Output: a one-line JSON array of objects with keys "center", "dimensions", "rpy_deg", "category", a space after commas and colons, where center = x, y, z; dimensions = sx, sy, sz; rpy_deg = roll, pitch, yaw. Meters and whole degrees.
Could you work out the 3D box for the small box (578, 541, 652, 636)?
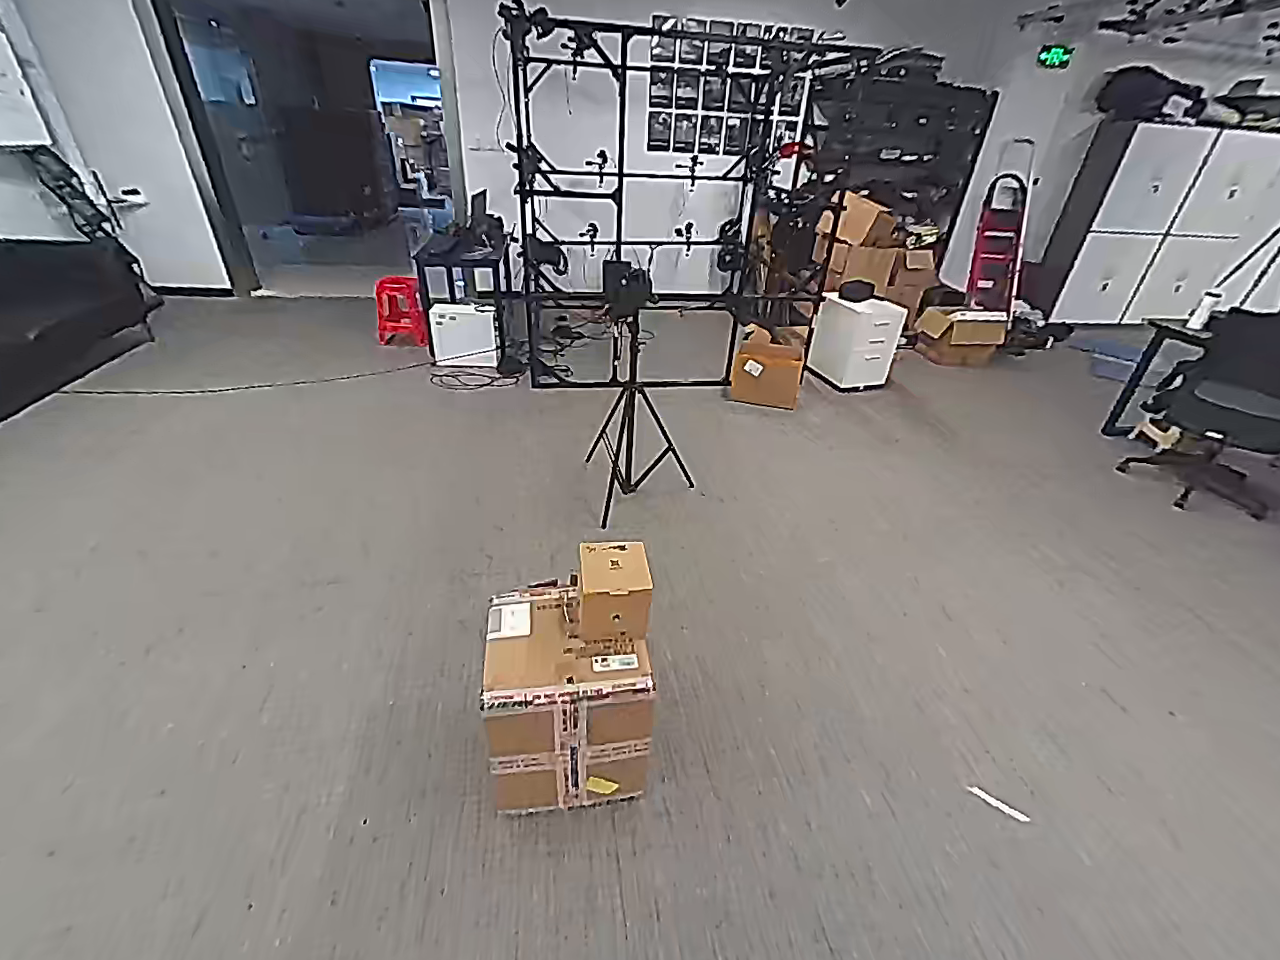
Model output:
[{"center": [-0.068, 0.275, 1.353], "dimensions": [0.168, 0.176, 0.179], "rpy_deg": [0, 35, -10], "category": "small box"}]
